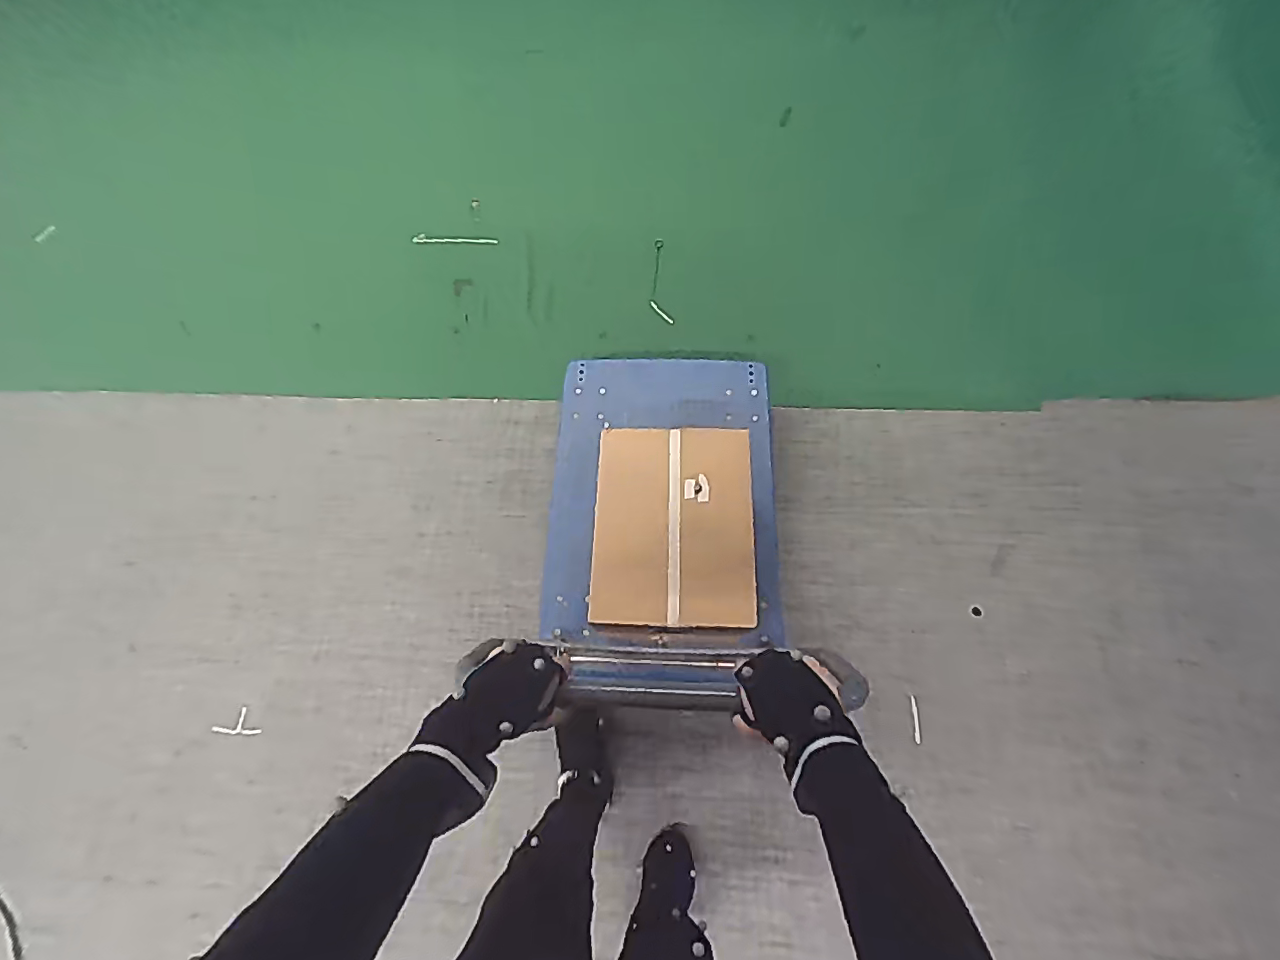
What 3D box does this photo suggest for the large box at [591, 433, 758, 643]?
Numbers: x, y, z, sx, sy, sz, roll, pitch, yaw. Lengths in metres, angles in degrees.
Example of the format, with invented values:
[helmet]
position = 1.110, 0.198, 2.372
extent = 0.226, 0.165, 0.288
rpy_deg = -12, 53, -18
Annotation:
[large box]
position = 0.074, 0.144, 1.207
extent = 0.320, 0.320, 0.408
rpy_deg = 1, 68, 2
